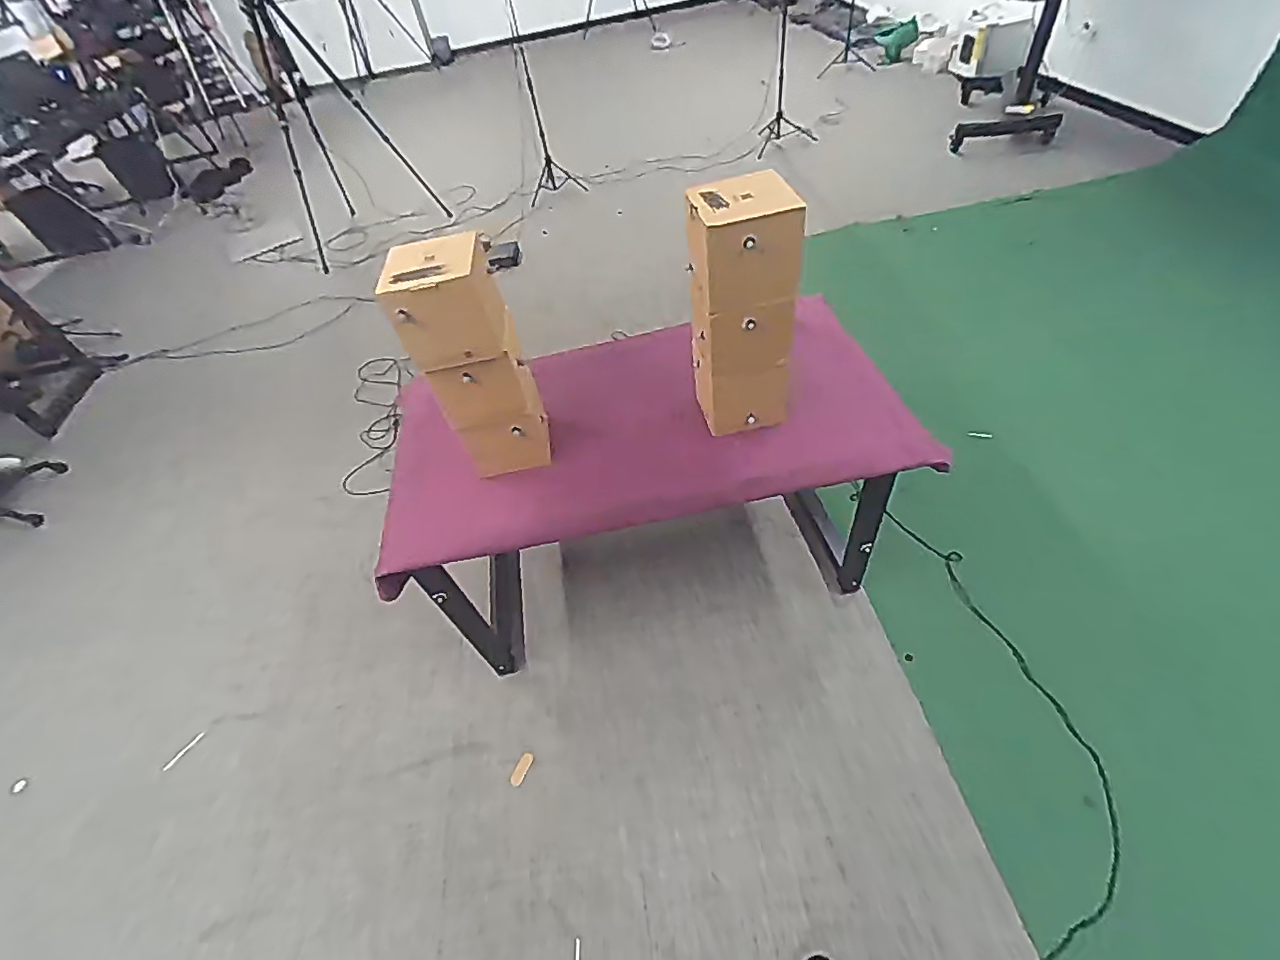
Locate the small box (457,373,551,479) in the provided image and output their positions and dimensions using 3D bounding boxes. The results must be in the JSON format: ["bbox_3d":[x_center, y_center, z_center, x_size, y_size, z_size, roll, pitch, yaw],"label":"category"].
[{"bbox_3d":[-0.312,-0.125,1.278,0.179,0.176,0.168,-12,48,0],"label":"small box"}]

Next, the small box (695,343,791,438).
[{"bbox_3d":[0.234,-0.223,1.257,0.179,0.176,0.168,-13,48,-1],"label":"small box"}]

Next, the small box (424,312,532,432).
[{"bbox_3d":[-0.334,-0.227,1.154,0.179,0.176,0.168,-12,49,0],"label":"small box"}]

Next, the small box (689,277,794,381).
[{"bbox_3d":[0.211,-0.329,1.135,0.179,0.176,0.168,-12,49,0],"label":"small box"}]

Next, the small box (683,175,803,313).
[{"bbox_3d":[0.189,-0.437,1.013,0.179,0.176,0.168,-13,50,0],"label":"small box"}]
